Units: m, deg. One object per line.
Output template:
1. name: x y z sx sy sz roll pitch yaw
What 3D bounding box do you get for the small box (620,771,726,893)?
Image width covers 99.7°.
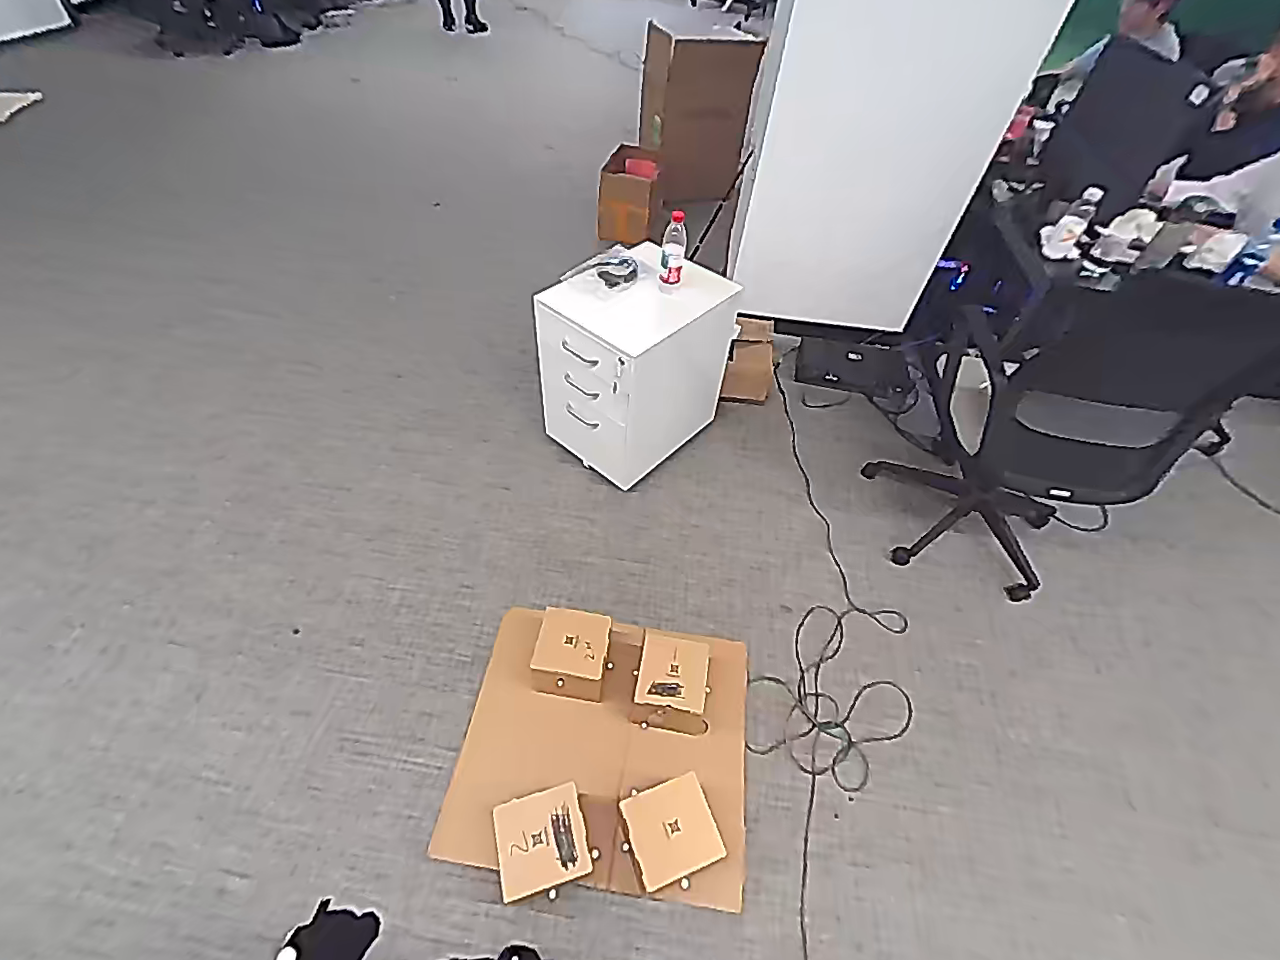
1. small box: 0.062 0.764 1.173 0.179 0.176 0.168 -16 52 -15
